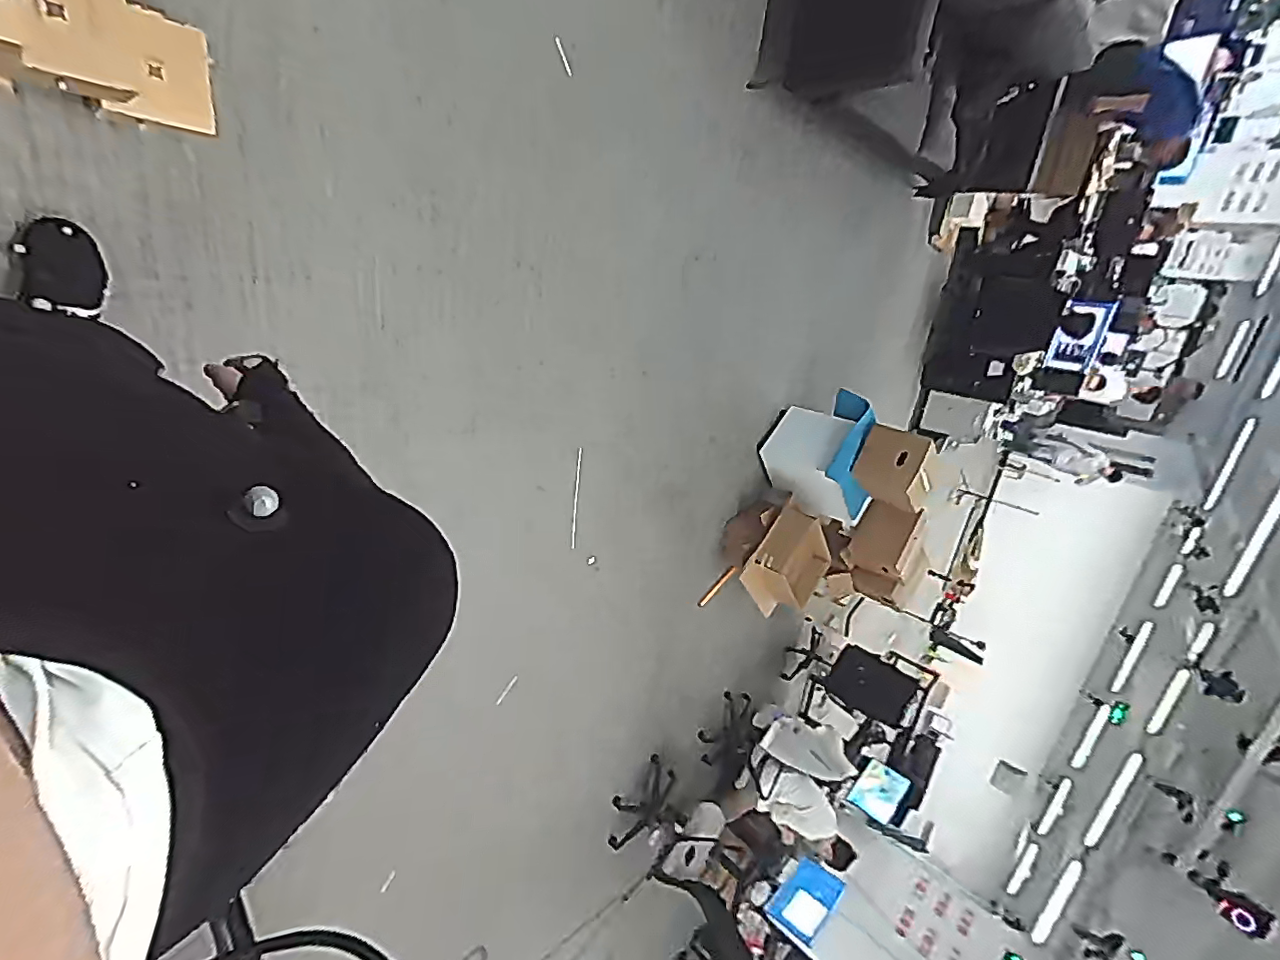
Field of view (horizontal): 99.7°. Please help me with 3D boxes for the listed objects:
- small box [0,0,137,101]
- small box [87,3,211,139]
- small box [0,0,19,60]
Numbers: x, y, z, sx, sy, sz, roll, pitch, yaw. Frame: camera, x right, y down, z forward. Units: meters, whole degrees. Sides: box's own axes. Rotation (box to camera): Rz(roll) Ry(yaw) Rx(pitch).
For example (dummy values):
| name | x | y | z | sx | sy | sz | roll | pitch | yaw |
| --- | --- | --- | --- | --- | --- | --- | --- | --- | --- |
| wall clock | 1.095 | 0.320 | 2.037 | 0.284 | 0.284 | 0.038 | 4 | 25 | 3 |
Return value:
| name | x | y | z | sx | sy | sz | roll | pitch | yaw |
| --- | --- | --- | --- | --- | --- | --- | --- | --- | --- |
| small box | -0.917 | -0.706 | 0.830 | 0.179 | 0.176 | 0.168 | -17 | 121 | -46 |
| small box | -0.945 | -0.773 | 1.030 | 0.168 | 0.176 | 0.179 | -13 | 118 | -45 |
| small box | -0.883 | -0.632 | 0.640 | 0.179 | 0.176 | 0.168 | -13 | 118 | -46 |
